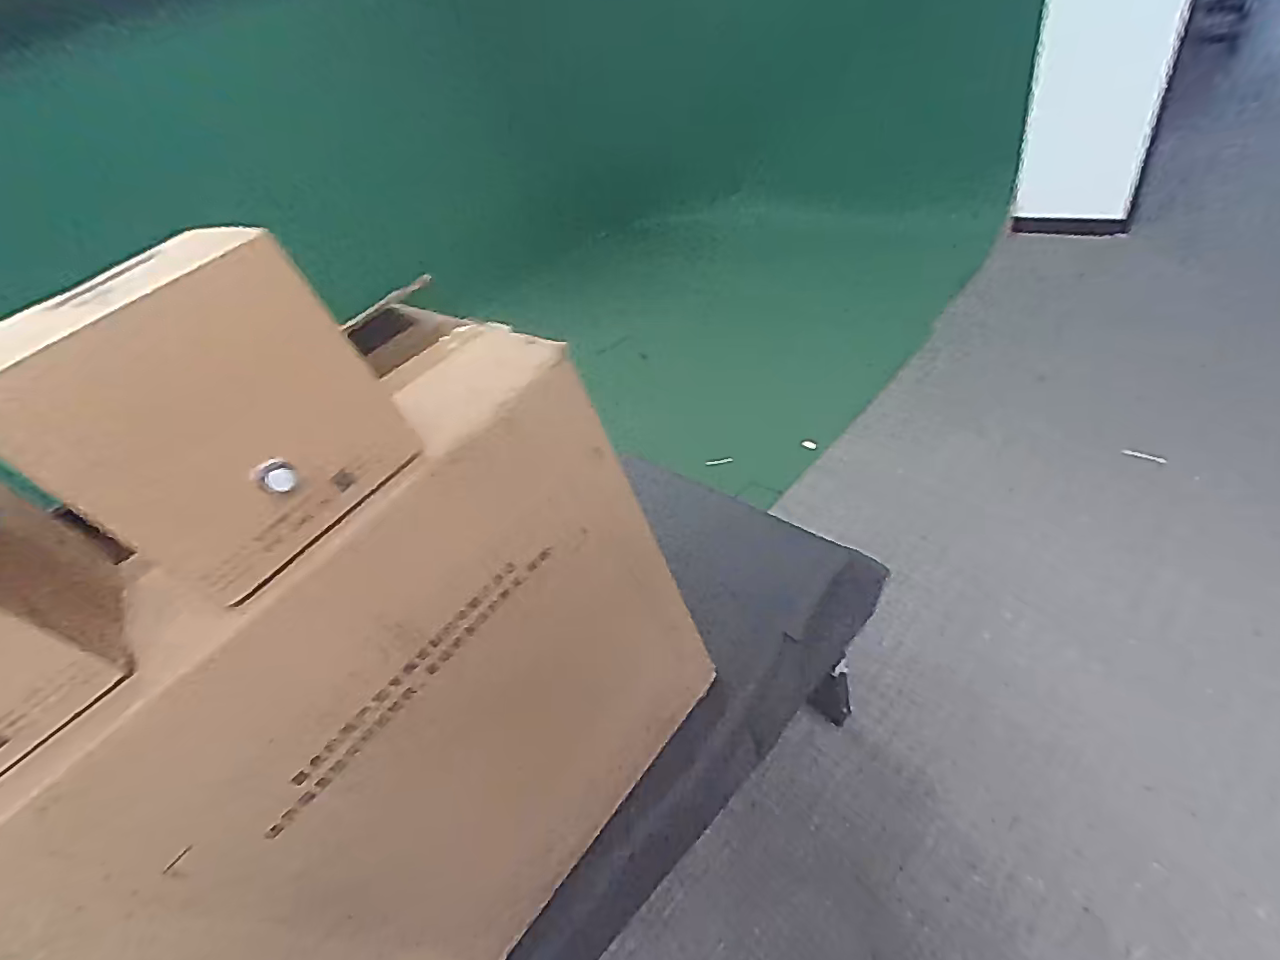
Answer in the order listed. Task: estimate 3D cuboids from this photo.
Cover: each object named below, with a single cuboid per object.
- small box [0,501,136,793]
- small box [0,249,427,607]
[{"bbox_3d":[-0.438,0.097,0.302,0.179,0.176,0.168,25,61,40],"label":"small box"},{"bbox_3d":[-0.292,-0.041,0.378,0.179,0.176,0.168,20,56,37],"label":"small box"}]
